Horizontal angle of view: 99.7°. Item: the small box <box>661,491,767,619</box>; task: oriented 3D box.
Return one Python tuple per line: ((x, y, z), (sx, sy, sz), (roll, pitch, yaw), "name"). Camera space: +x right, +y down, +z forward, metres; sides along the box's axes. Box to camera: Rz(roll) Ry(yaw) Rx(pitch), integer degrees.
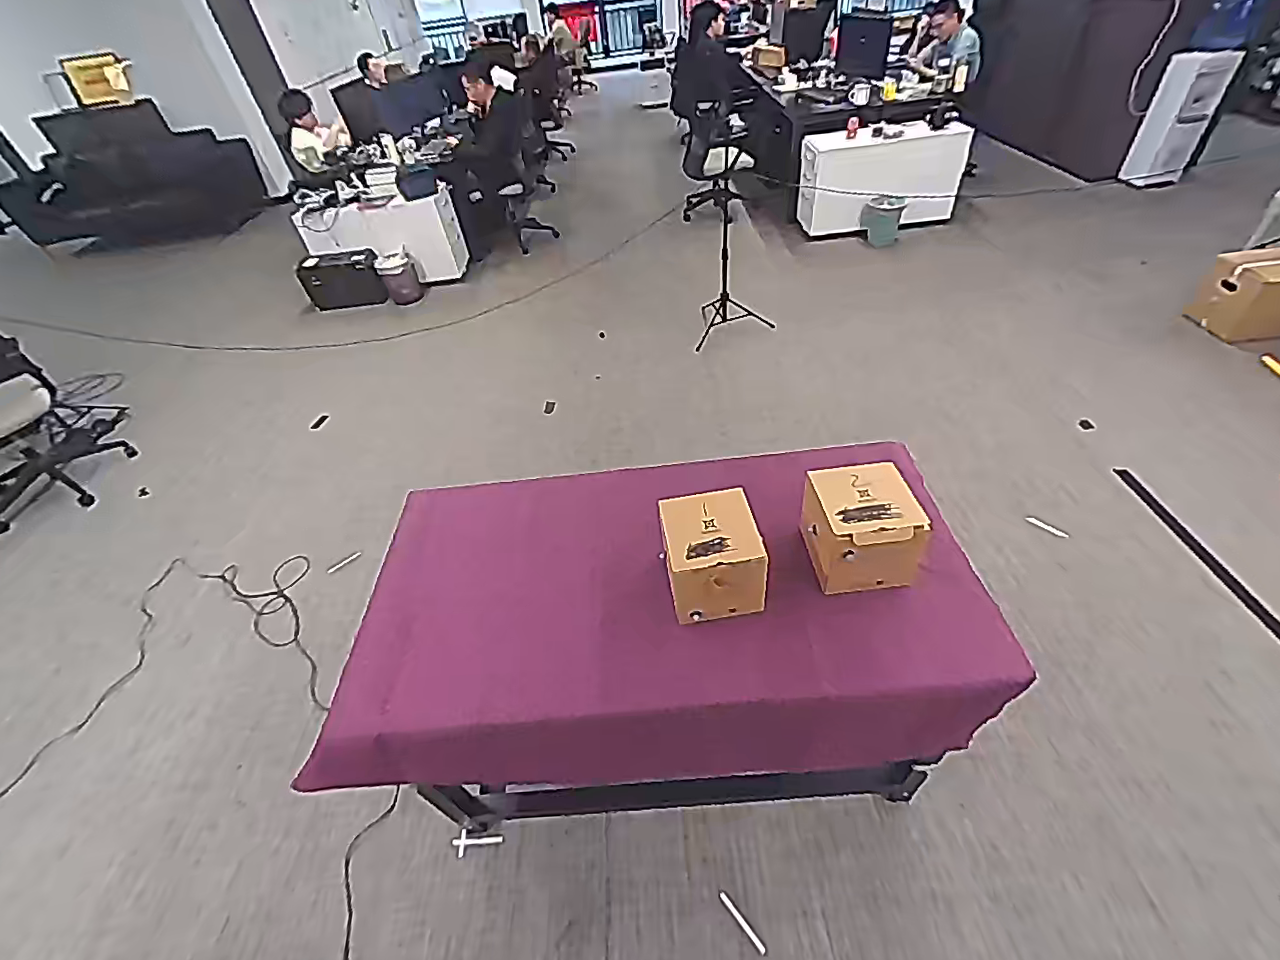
((0.137, 0.149, 1.029), (0.168, 0.176, 0.179), (-9, 42, -1), "small box")
